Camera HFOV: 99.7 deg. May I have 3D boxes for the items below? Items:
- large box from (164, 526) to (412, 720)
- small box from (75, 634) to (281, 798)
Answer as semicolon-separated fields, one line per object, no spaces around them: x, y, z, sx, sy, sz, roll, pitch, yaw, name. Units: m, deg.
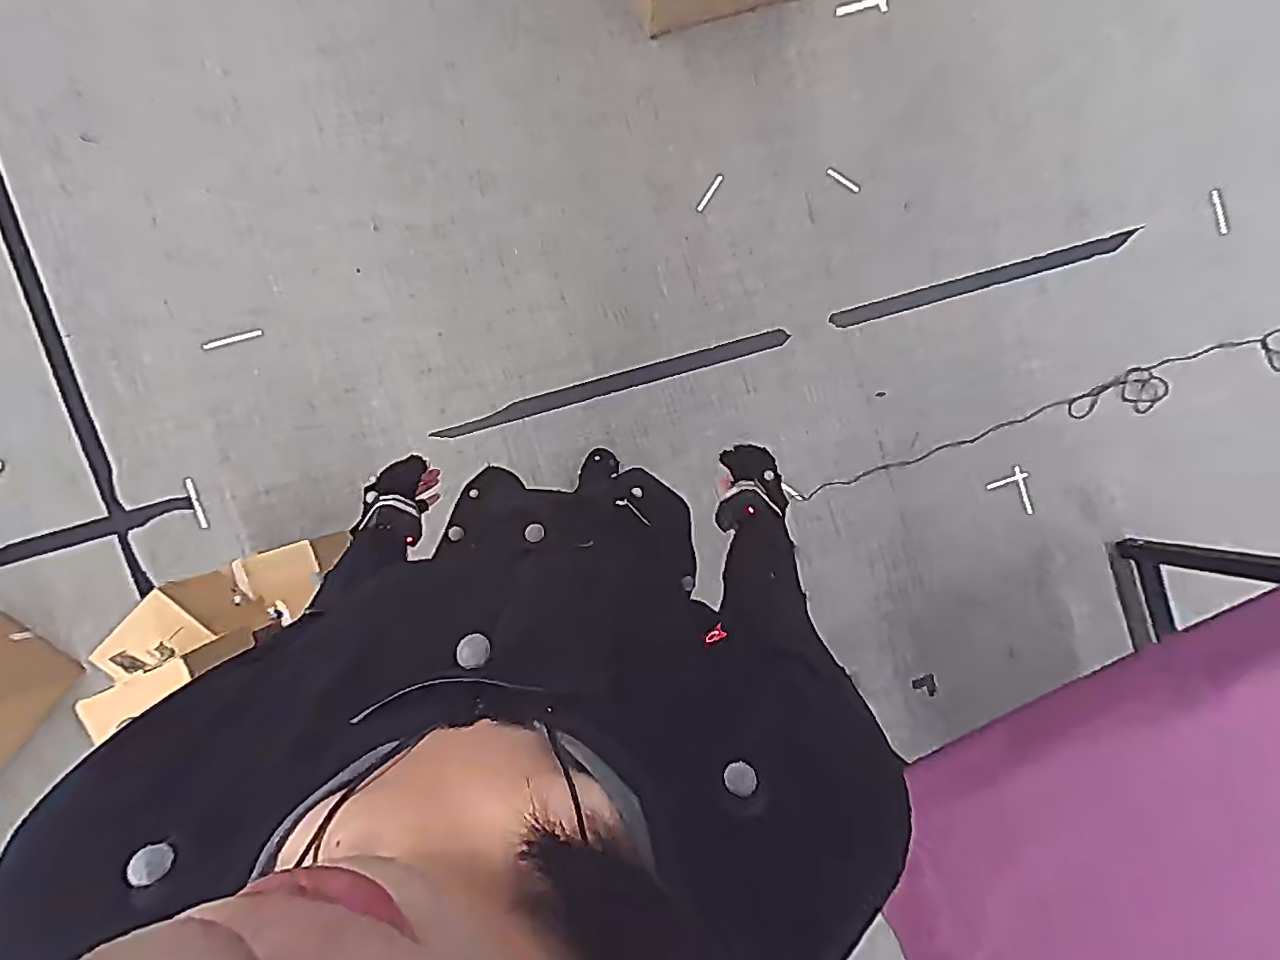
-0.814;0.358;1.311;0.320;0.320;0.408;-19;92;-6;large box
-0.757;0.378;0.909;0.168;0.176;0.179;-24;94;-5;small box
